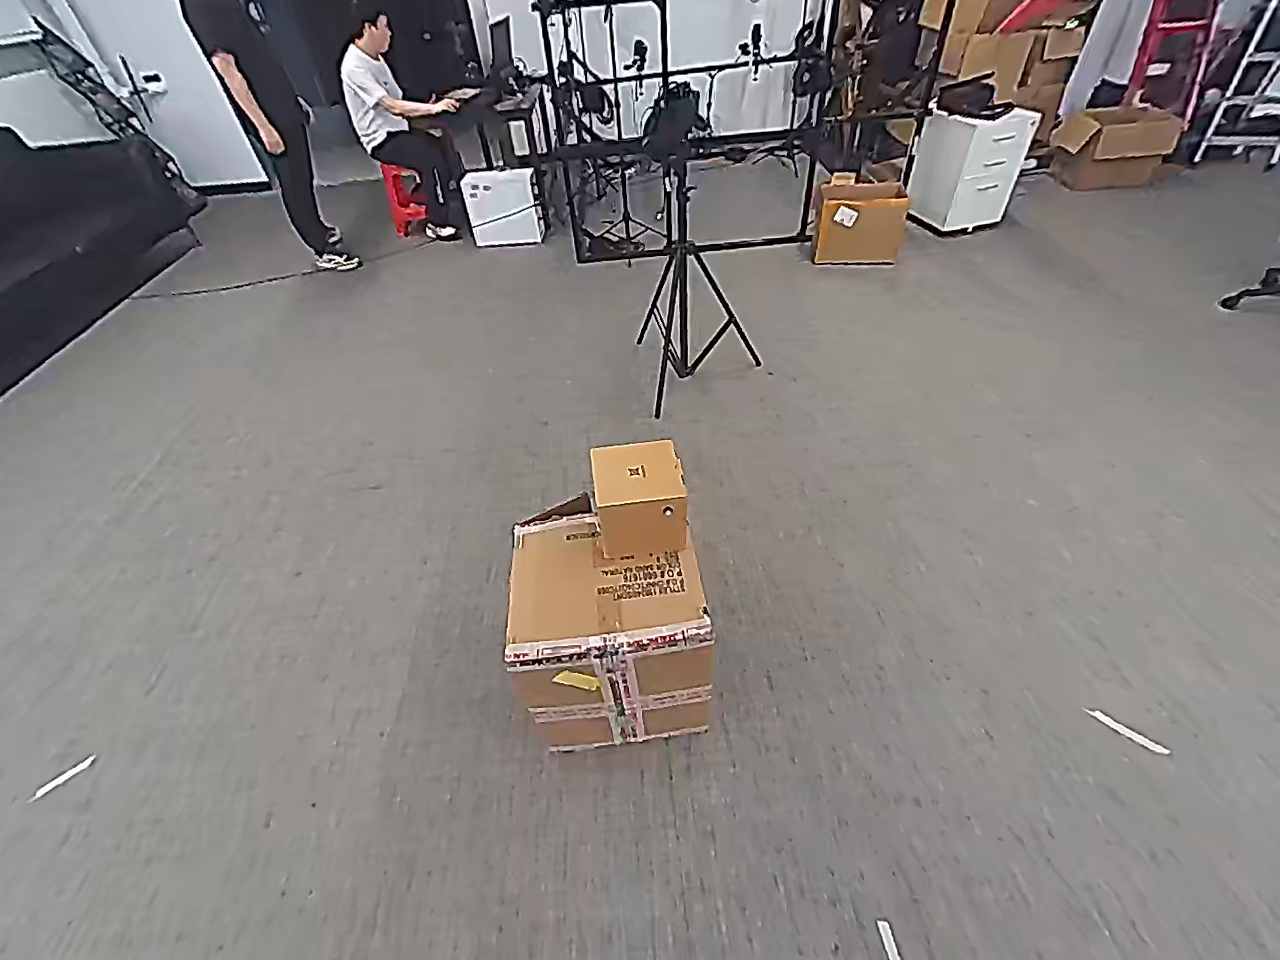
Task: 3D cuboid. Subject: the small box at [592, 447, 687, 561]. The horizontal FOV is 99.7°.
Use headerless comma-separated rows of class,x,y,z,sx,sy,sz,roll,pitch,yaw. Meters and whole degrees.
small box,-0.002,0.054,1.130,0.179,0.176,0.168,-7,46,-5
